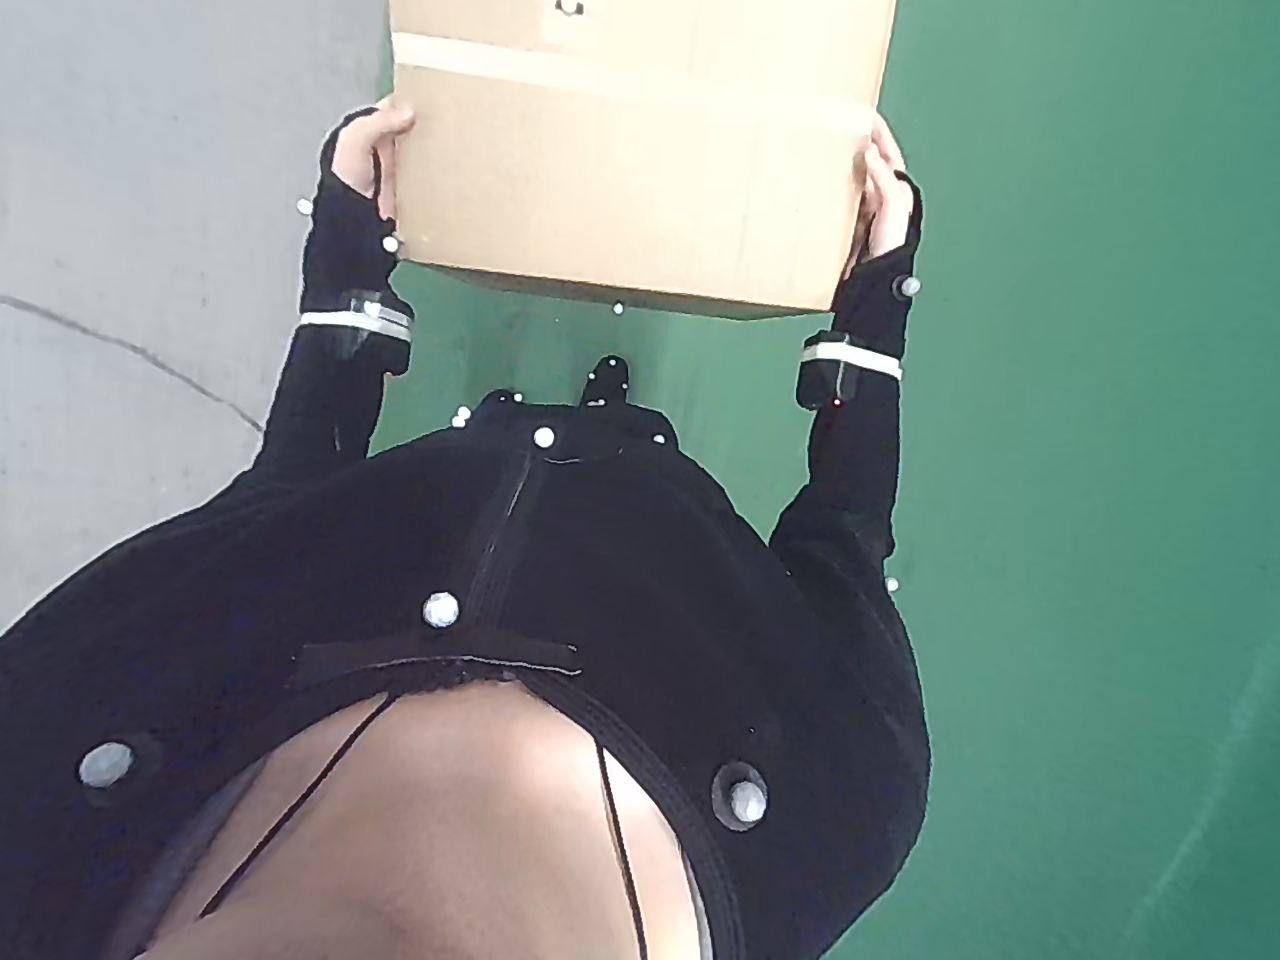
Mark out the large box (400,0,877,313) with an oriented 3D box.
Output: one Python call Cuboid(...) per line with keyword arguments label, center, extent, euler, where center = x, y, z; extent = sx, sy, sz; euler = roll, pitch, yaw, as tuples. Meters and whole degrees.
Cuboid(label="large box", center=(-0.012, -0.365, 0.611), extent=(0.408, 0.320, 0.320), euler=(4, 104, -5))
